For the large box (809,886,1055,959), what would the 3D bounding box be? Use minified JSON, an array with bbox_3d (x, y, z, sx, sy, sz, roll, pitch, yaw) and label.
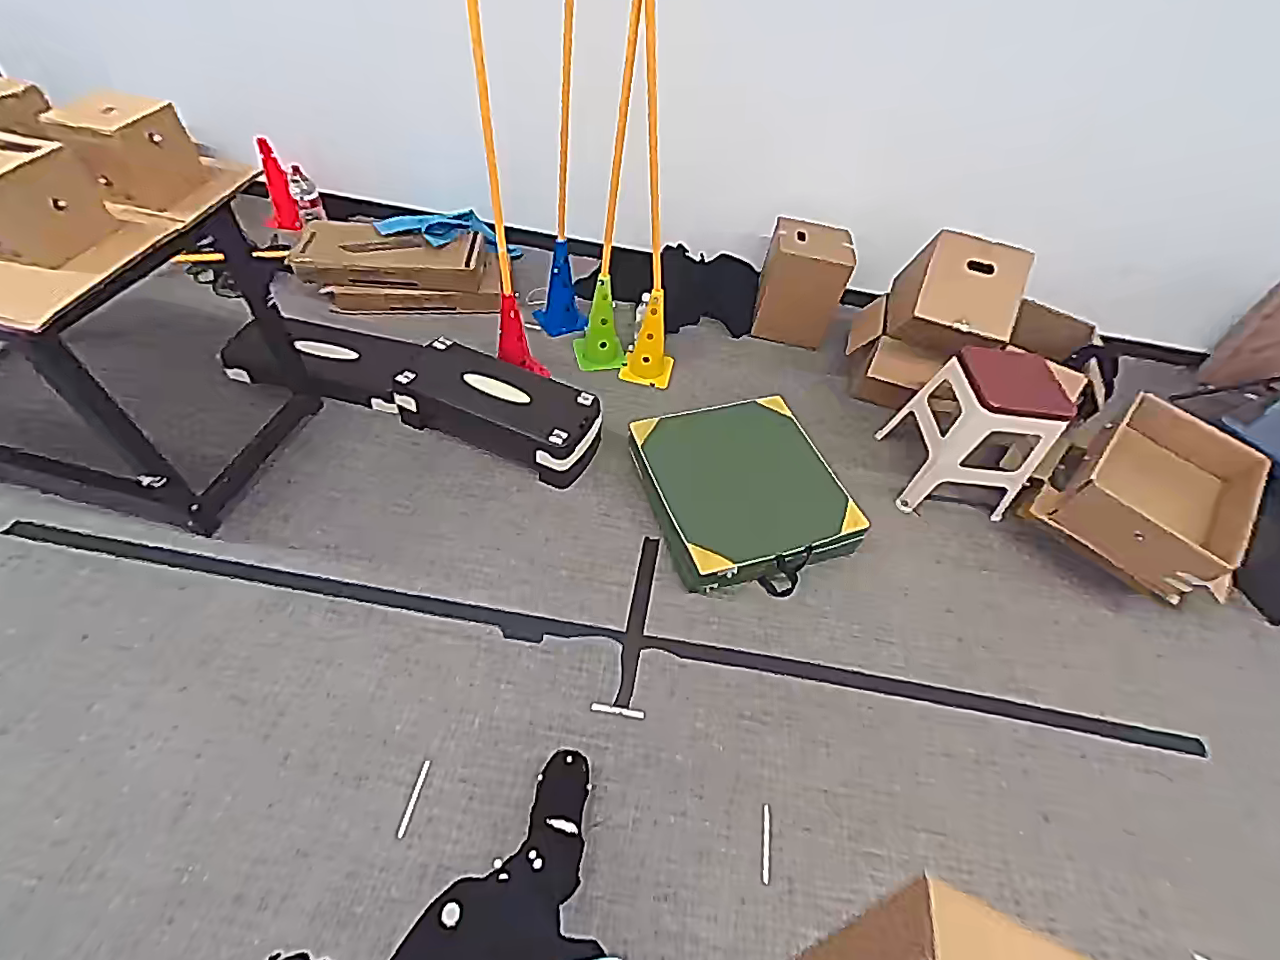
[{"bbox_3d":[0.350,0.750,0.581,0.320,0.408,0.320,26,34,9],"label":"large box"}]
